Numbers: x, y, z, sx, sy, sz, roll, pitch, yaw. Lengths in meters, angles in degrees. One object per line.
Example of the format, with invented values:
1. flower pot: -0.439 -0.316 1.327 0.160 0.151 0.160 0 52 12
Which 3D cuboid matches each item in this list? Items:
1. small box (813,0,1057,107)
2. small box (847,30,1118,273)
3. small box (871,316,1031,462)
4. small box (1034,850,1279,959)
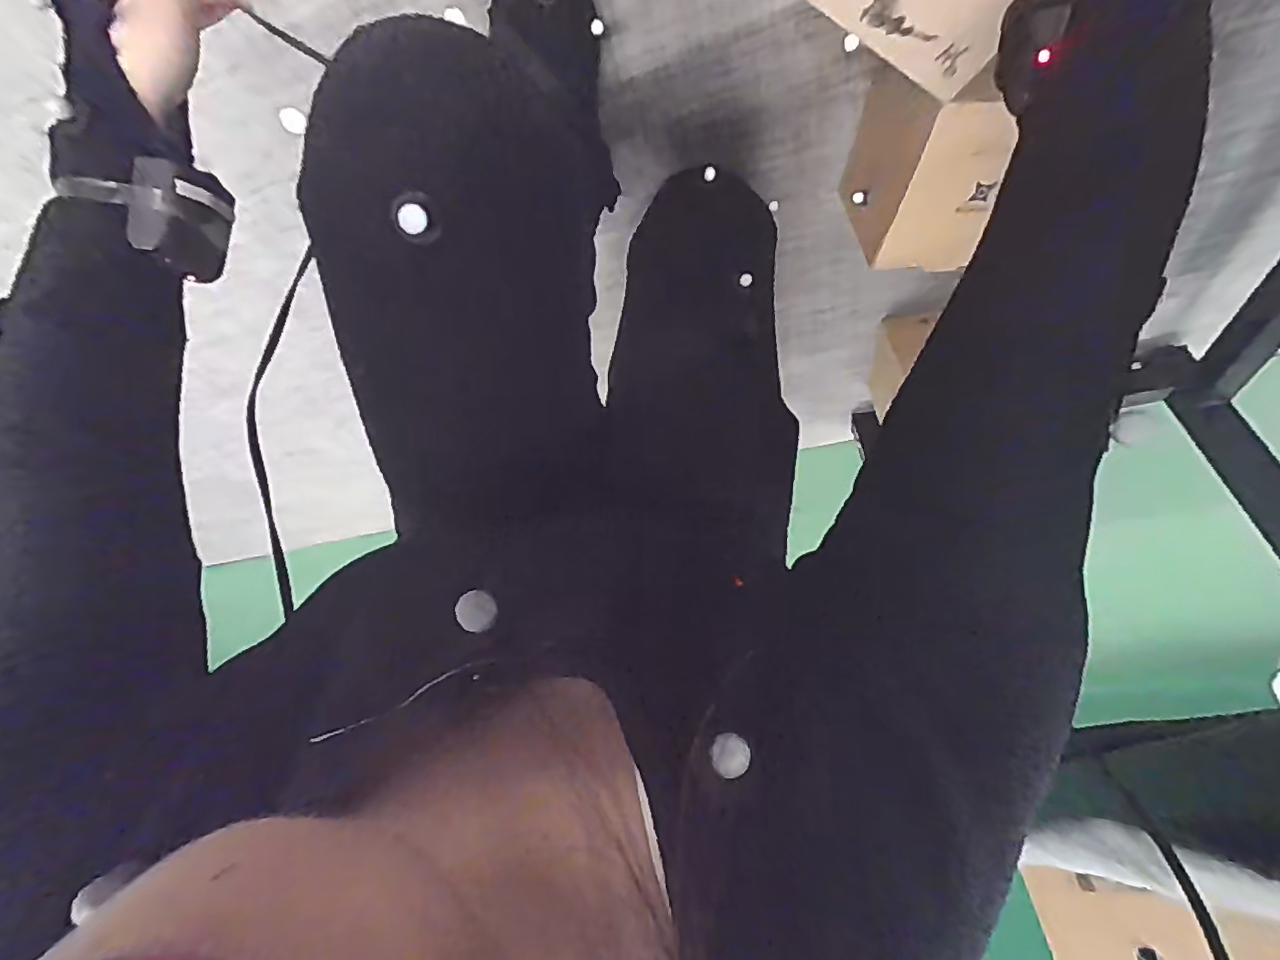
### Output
1. small box: 0.244 -0.452 0.411 0.168 0.176 0.179 16 152 -22
2. small box: 0.344 -0.354 0.592 0.168 0.176 0.179 -3 146 -1
3. small box: 0.502 -0.155 0.907 0.168 0.176 0.179 -8 148 9
4. small box: 0.520 0.453 0.500 0.179 0.176 0.168 15 140 -25
